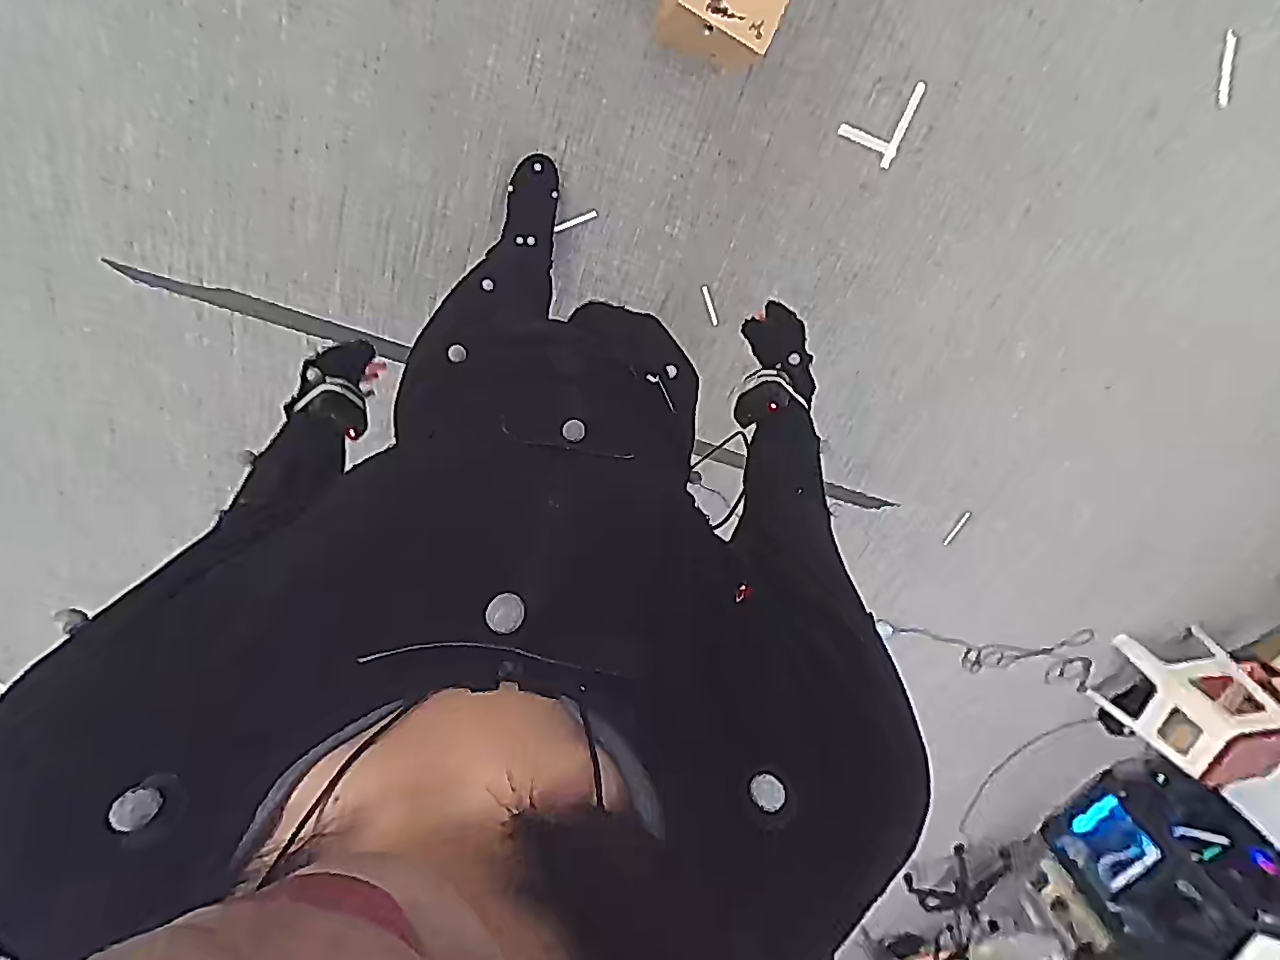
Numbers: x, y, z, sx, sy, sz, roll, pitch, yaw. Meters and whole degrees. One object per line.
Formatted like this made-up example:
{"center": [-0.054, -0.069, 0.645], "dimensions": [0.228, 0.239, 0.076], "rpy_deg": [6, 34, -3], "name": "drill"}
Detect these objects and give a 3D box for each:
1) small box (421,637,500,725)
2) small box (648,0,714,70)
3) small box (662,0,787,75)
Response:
{"center": [-0.526, 0.593, 1.604], "dimensions": [0.179, 0.176, 0.168], "rpy_deg": [18, 116, -16], "name": "small box"}
{"center": [0.128, -0.927, 1.047], "dimensions": [0.179, 0.176, 0.168], "rpy_deg": [13, 116, -14], "name": "small box"}
{"center": [0.151, -0.833, 0.915], "dimensions": [0.168, 0.176, 0.179], "rpy_deg": [19, 114, -18], "name": "small box"}
